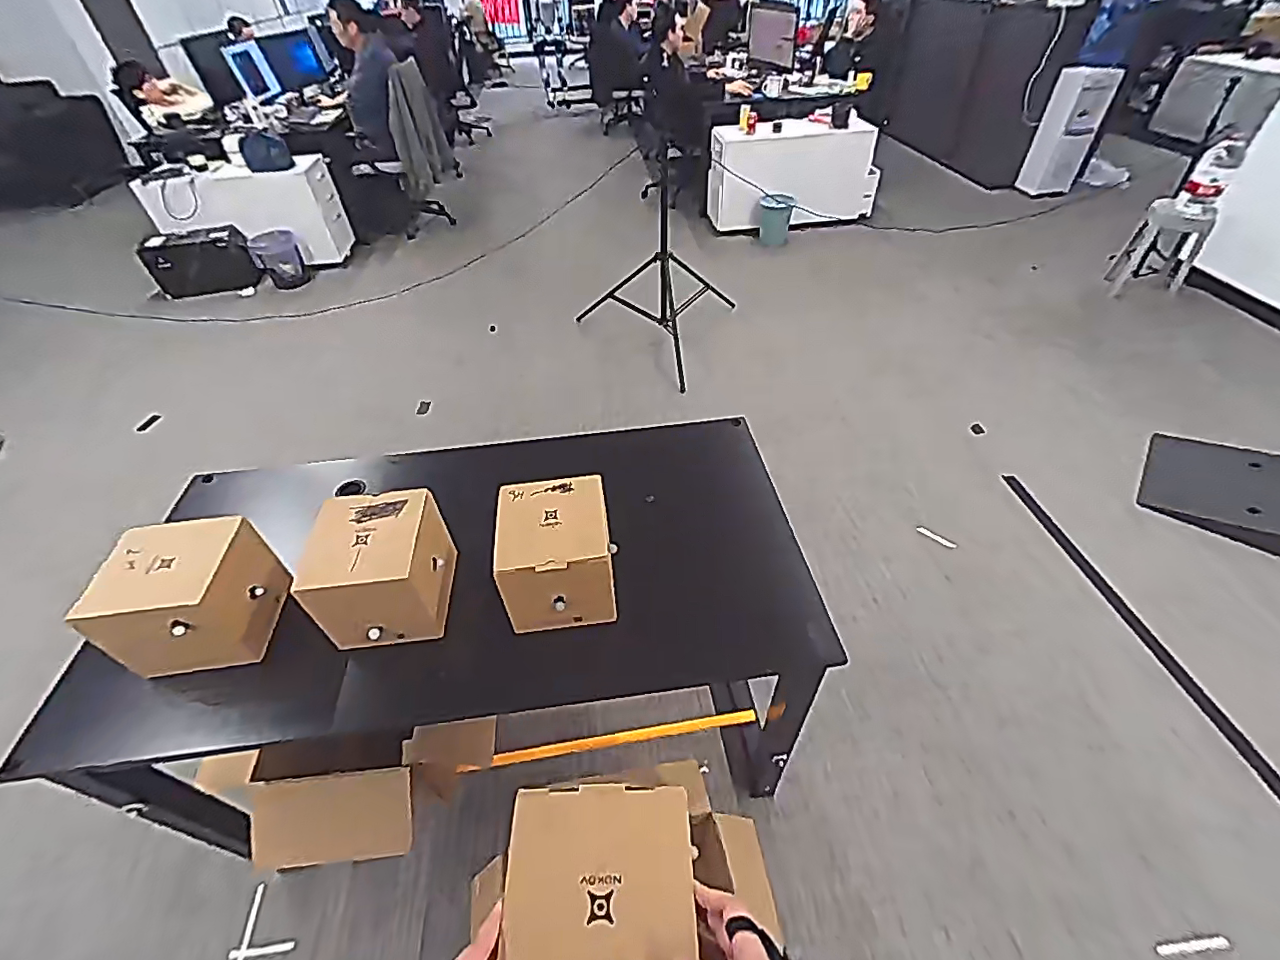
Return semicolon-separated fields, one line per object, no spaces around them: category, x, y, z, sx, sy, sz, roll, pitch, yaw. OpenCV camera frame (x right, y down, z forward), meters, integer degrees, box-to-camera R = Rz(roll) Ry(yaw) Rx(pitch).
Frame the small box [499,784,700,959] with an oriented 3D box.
small box;-0.038;0.415;0.524;0.168;0.176;0.179;0;48;-3

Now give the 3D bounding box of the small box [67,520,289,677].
small box;-0.691;0.186;0.842;0.179;0.176;0.168;-7;44;-5

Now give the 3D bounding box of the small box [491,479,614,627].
small box;-0.135;0.124;0.879;0.168;0.176;0.179;-7;45;-3

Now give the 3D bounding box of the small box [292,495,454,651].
small box;-0.409;0.148;0.868;0.168;0.176;0.179;-6;45;-3
